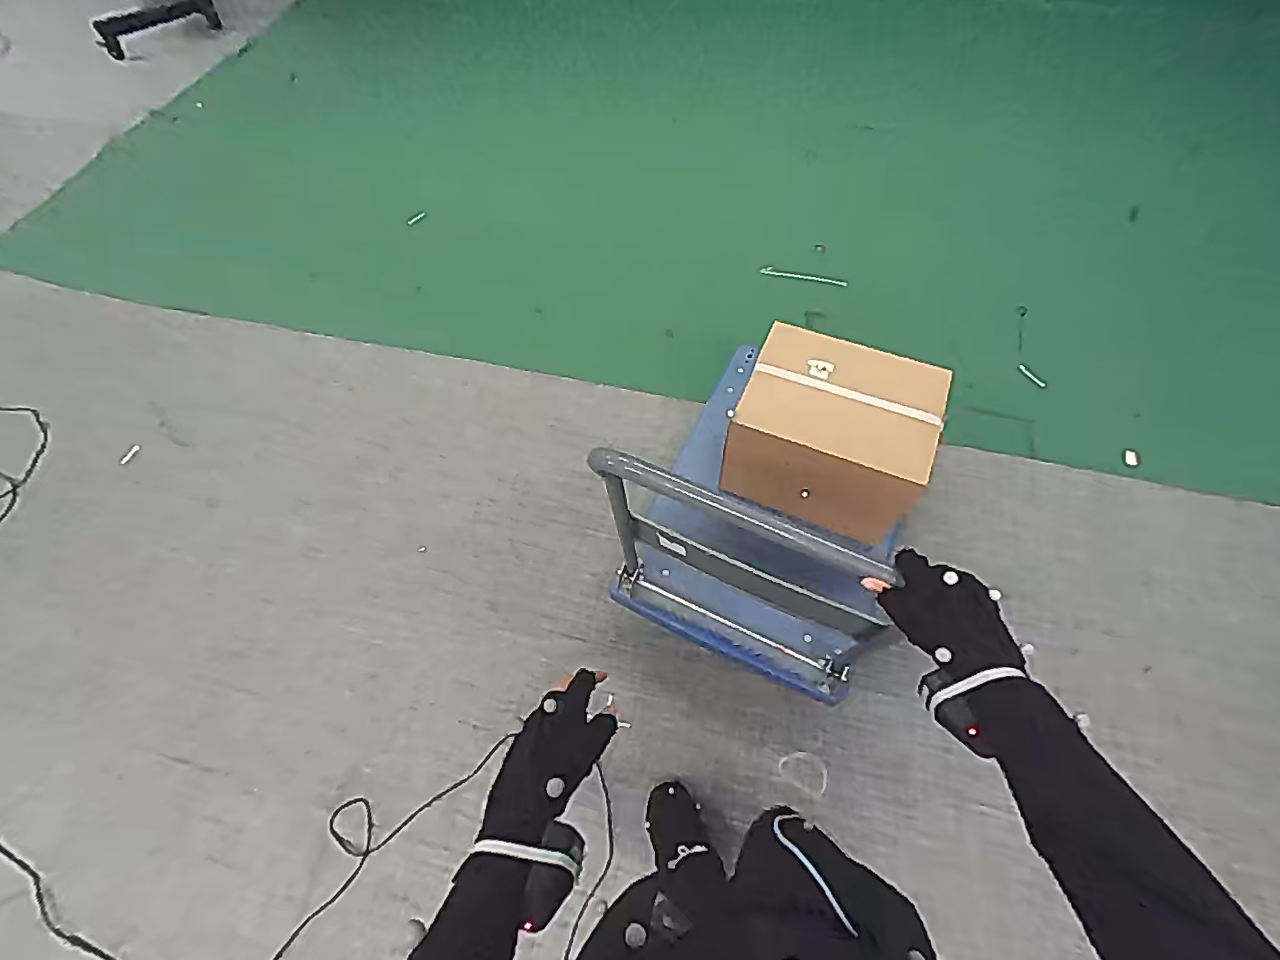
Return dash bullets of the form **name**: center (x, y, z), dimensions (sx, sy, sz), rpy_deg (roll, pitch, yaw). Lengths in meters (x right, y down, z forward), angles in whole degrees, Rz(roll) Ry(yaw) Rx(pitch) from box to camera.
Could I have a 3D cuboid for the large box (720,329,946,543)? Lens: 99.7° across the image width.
- **large box**: center (0.438, -0.099, 1.291), dimensions (0.408, 0.320, 0.320), rpy_deg (21, 63, 15)
